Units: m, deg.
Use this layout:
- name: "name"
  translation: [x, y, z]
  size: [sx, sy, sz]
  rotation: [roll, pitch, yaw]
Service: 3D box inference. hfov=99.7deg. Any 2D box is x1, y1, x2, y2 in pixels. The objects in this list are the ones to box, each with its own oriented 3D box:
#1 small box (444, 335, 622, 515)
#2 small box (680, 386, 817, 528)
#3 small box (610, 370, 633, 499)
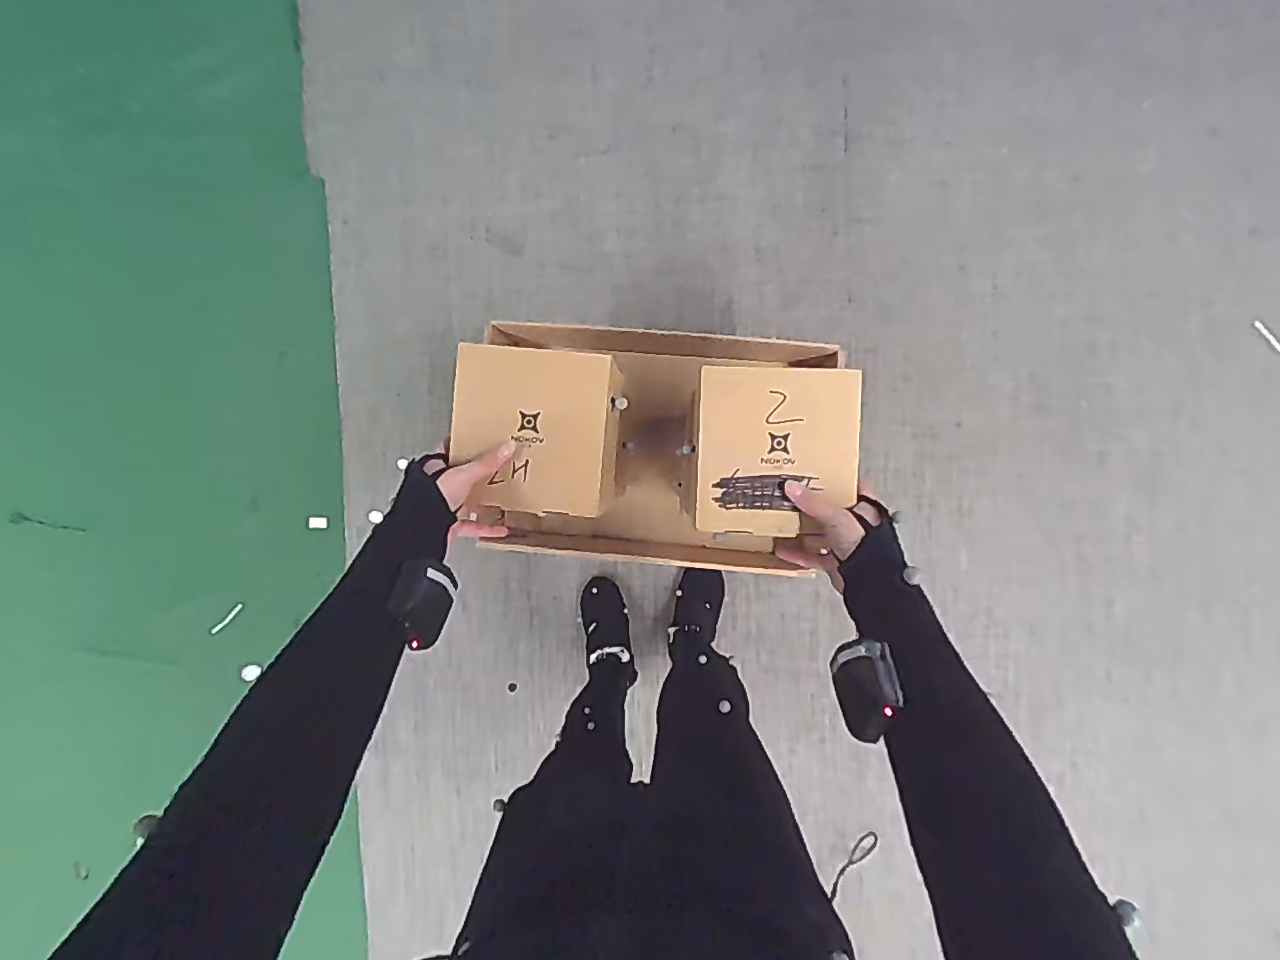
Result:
- name: "small box"
  translation: [-0.114, -0.059, 0.645]
  size: [0.168, 0.176, 0.179]
  rotation: [6, 92, 3]
- name: "small box"
  translation: [0.148, -0.033, 0.790]
  size: [0.168, 0.176, 0.179]
  rotation: [5, 91, 3]
- name: "small box"
  translation: [-0.101, -0.070, 0.808]
  size: [0.168, 0.176, 0.179]
  rotation: [5, 92, 3]
